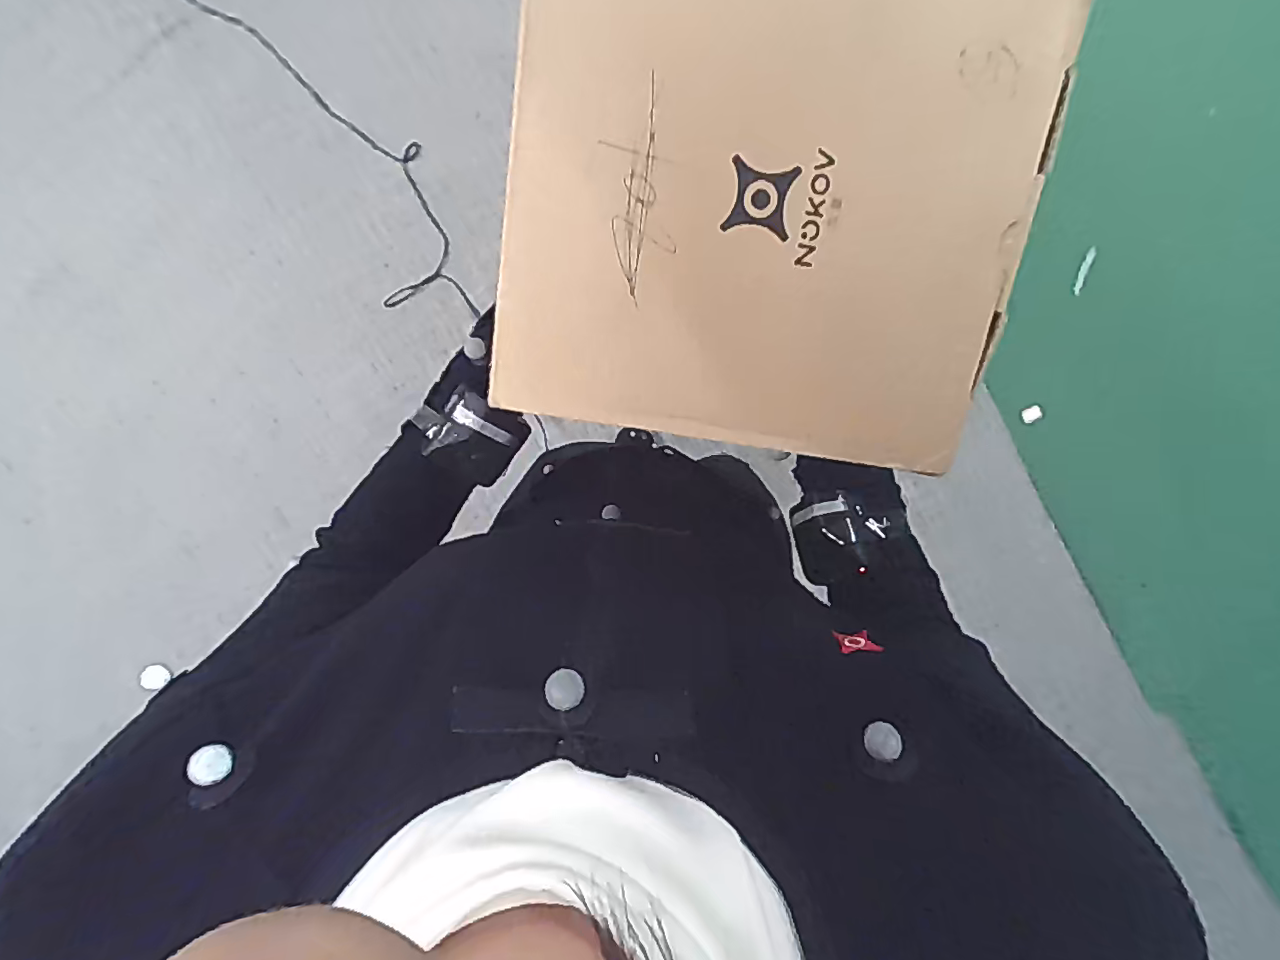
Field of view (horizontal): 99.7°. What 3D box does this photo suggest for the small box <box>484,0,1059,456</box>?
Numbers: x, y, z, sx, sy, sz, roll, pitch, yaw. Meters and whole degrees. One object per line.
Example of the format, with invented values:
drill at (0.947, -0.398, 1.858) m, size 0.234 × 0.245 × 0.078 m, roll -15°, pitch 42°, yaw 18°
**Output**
small box at (0.037, -0.117, 0.262) m, size 0.179 × 0.176 × 0.168 m, roll 7°, pitch 104°, yaw -1°
